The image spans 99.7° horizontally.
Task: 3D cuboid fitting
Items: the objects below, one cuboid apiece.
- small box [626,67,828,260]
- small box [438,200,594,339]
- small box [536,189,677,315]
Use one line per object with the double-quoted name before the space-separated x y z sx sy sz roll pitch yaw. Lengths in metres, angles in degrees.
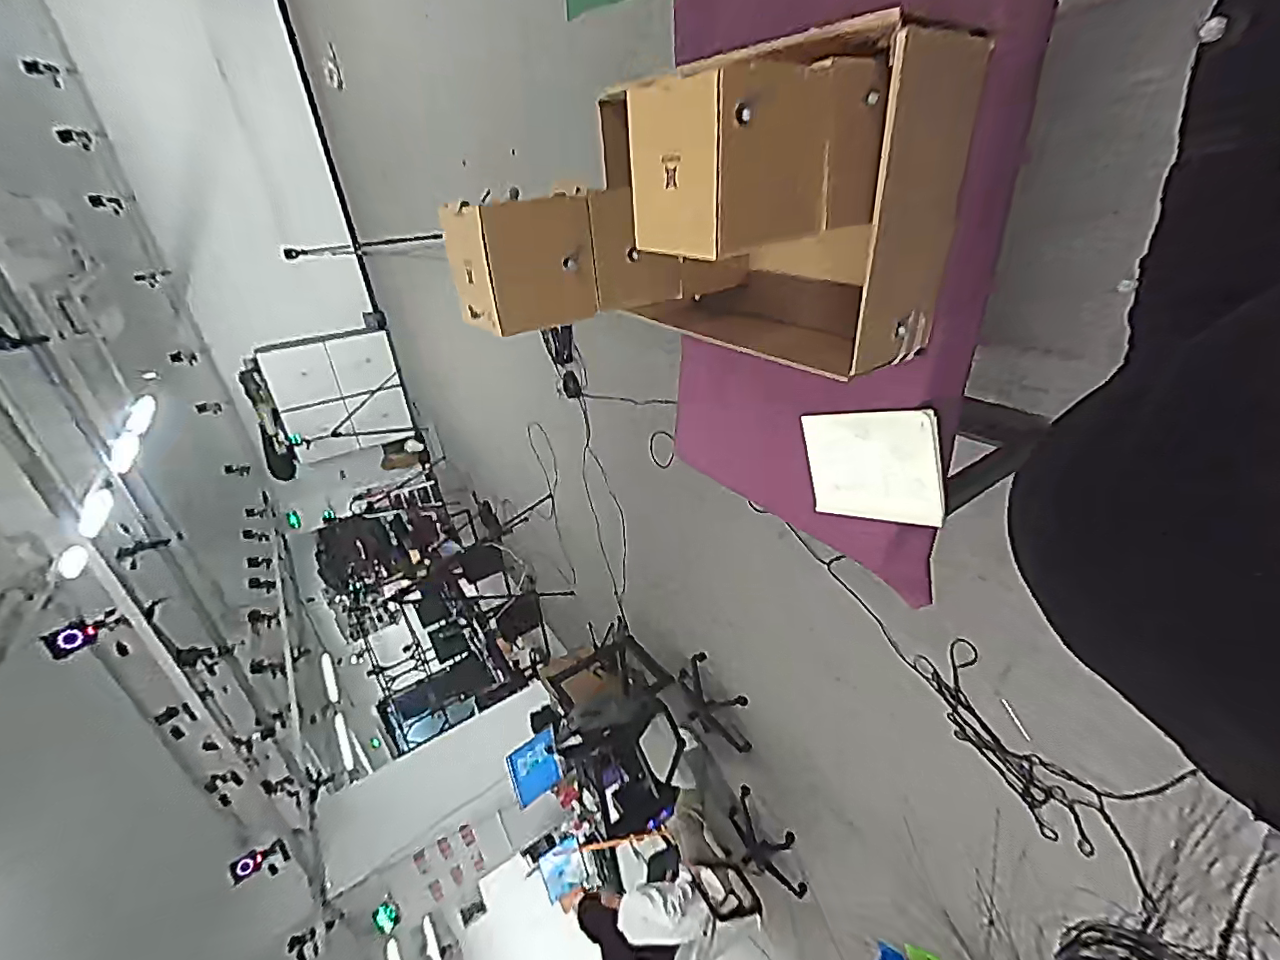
"small box" 0.102 -0.375 0.646 0.168 0.176 0.179 35 138 47
"small box" -0.186 -0.332 0.834 0.168 0.176 0.179 32 134 47
"small box" -0.052 -0.388 0.910 0.168 0.176 0.179 29 133 48
